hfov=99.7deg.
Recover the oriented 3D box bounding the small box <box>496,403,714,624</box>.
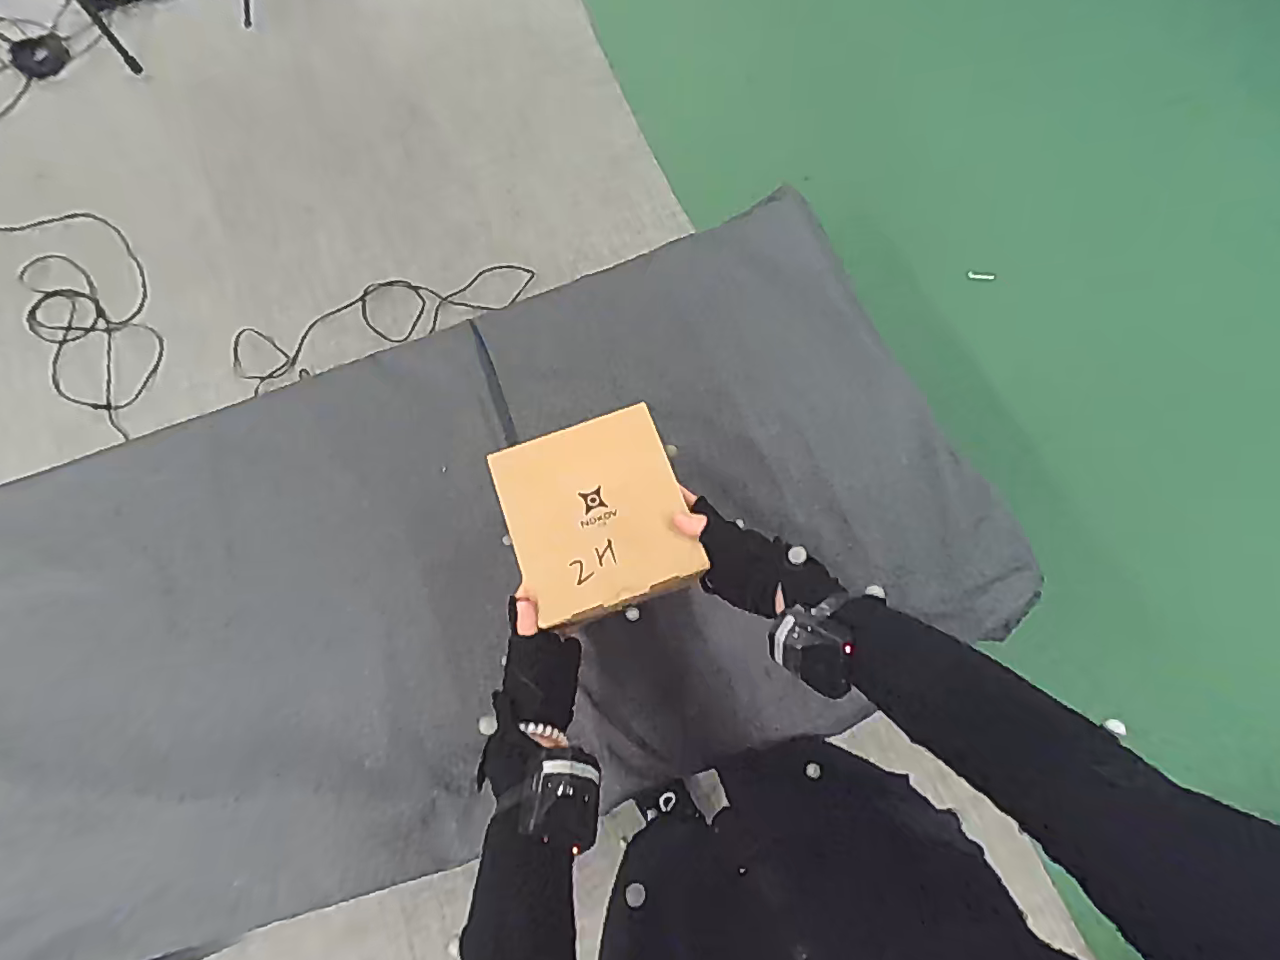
[{"bbox_3d":[-0.037,0.047,0.583,0.168,0.176,0.179,-19,76,-5],"label":"small box"}]
